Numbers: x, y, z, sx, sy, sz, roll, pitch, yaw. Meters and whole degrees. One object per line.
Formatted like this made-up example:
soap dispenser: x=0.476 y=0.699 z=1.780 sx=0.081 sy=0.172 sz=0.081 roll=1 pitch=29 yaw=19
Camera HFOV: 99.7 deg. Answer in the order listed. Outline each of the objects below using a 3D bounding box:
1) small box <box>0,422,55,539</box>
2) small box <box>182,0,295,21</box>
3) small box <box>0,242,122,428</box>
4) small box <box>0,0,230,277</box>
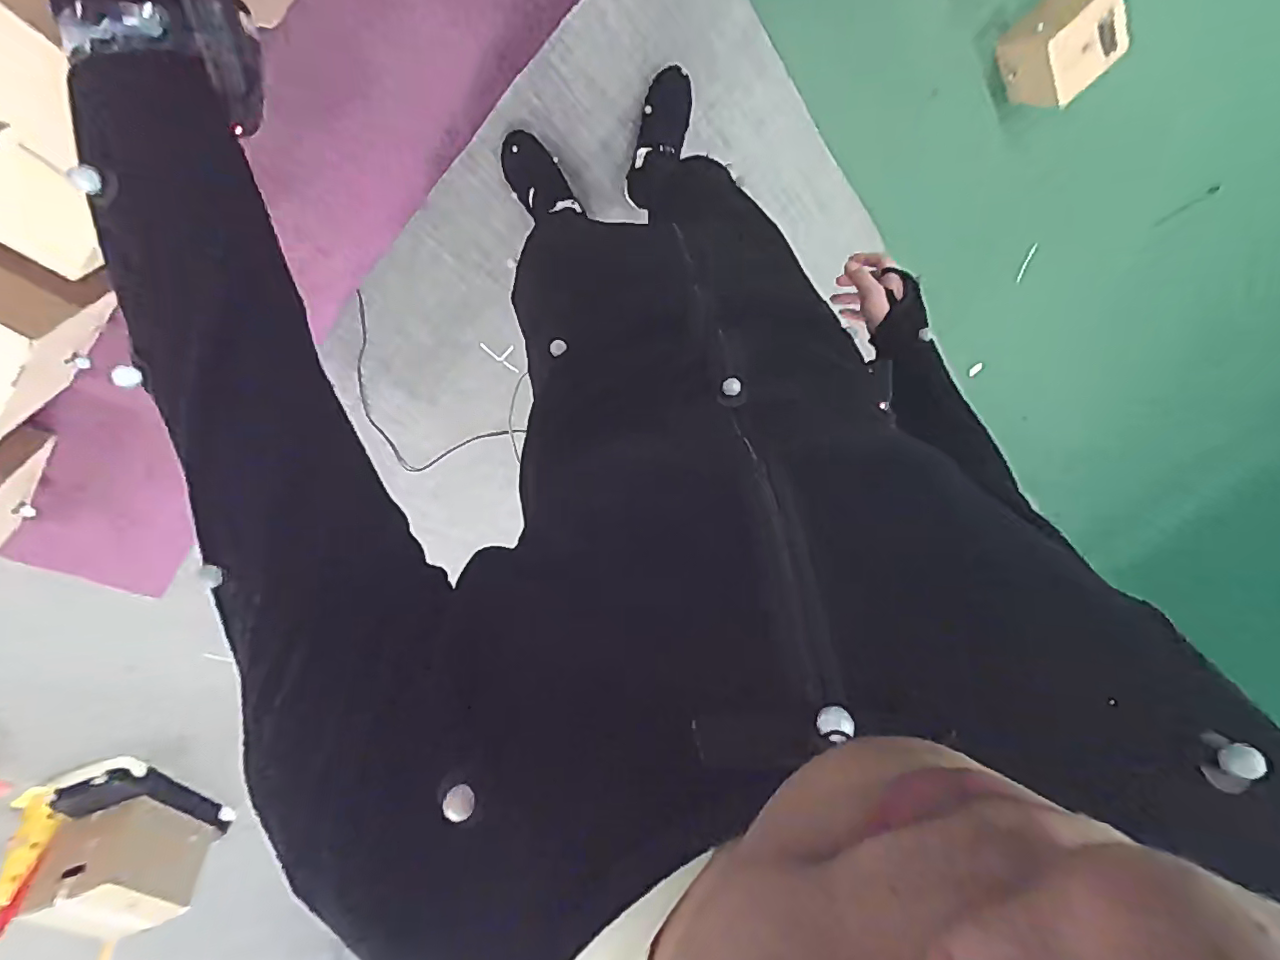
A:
small box: x=-0.828 y=0.012 z=0.597 sx=0.179 sy=0.176 sz=0.168 roll=30 pitch=114 yaw=-34
small box: x=-0.326 y=-0.471 z=0.379 sx=0.168 sy=0.176 sz=0.179 roll=-41 pitch=127 yaw=16
small box: x=-0.667 y=-0.160 z=0.514 sx=0.168 sy=0.176 sz=0.179 roll=-42 pitch=127 yaw=16
small box: x=-0.498 y=-0.311 z=0.450 sx=0.168 sy=0.176 sz=0.179 roll=-41 pitch=128 yaw=15
